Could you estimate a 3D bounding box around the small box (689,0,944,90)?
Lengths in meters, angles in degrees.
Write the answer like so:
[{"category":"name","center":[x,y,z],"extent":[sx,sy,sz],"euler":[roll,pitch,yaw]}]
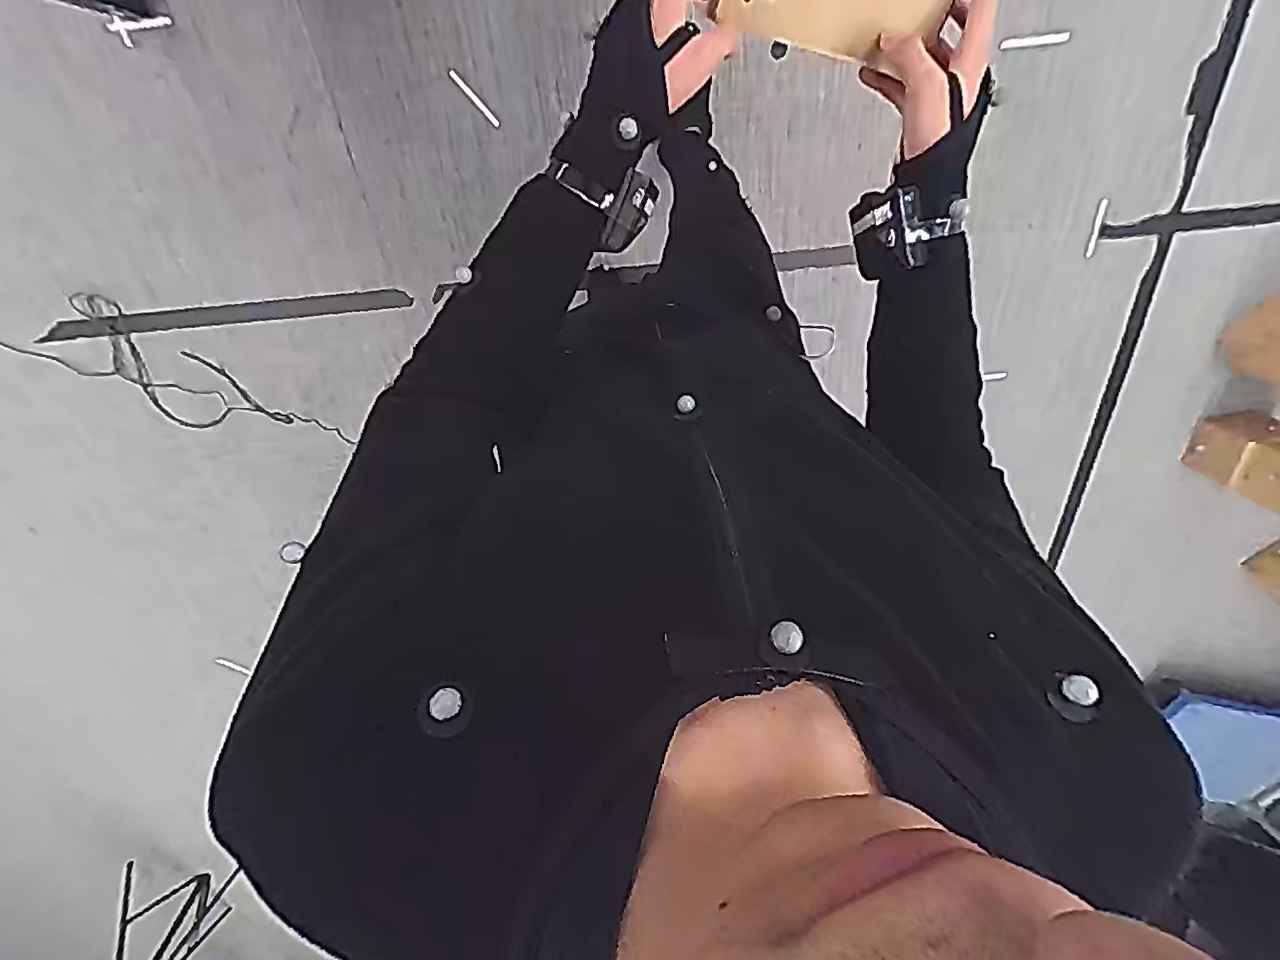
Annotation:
[{"category":"small box","center":[0.149,-0.448,0.434],"extent":[0.179,0.176,0.168],"euler":[8,134,-11]}]
